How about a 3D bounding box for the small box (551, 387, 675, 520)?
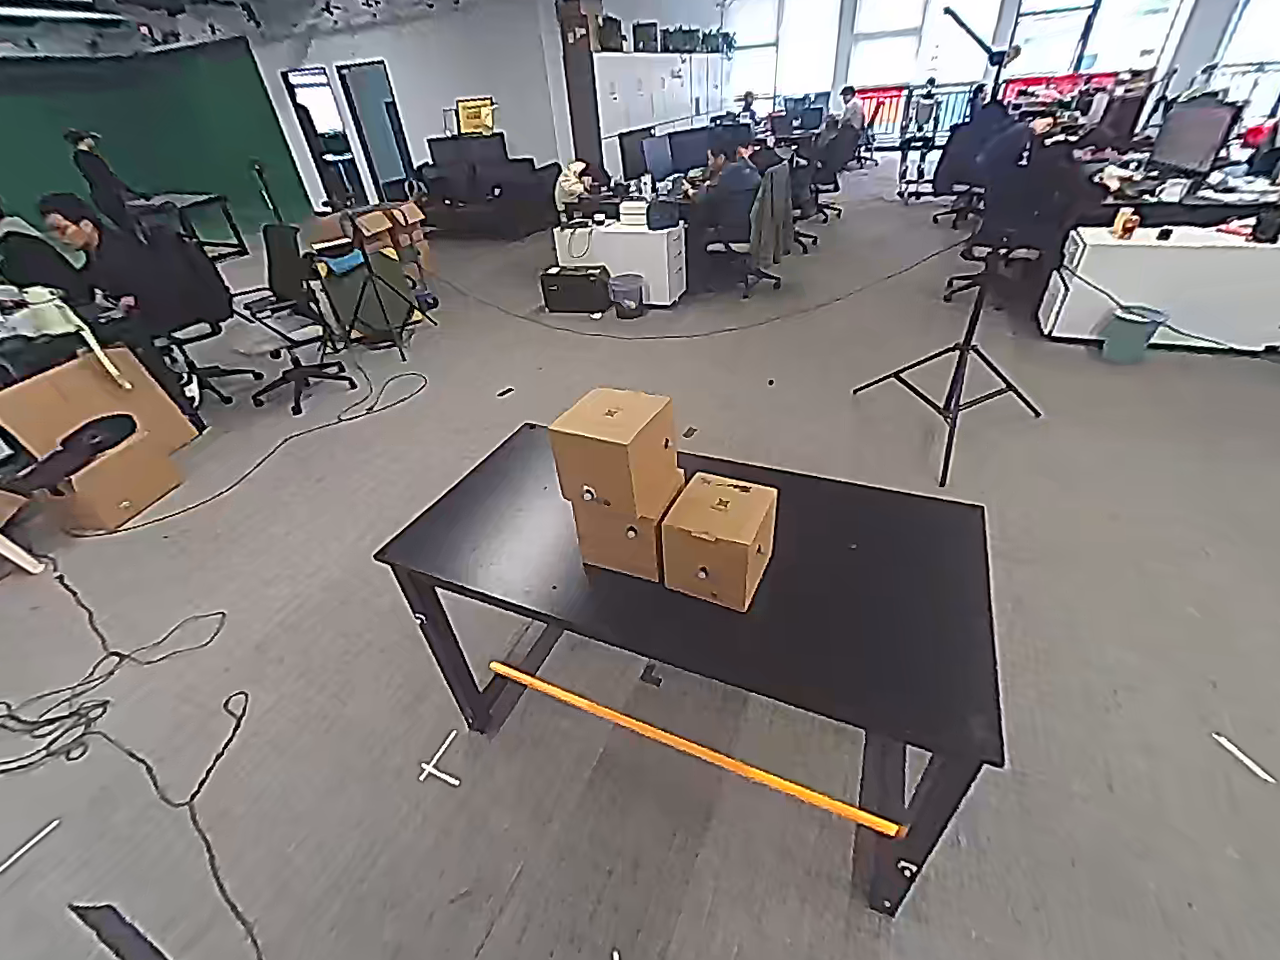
[{"bbox_3d":[-0.041,-0.053,1.018,0.168,0.176,0.179,13,41,25],"label":"small box"}]
